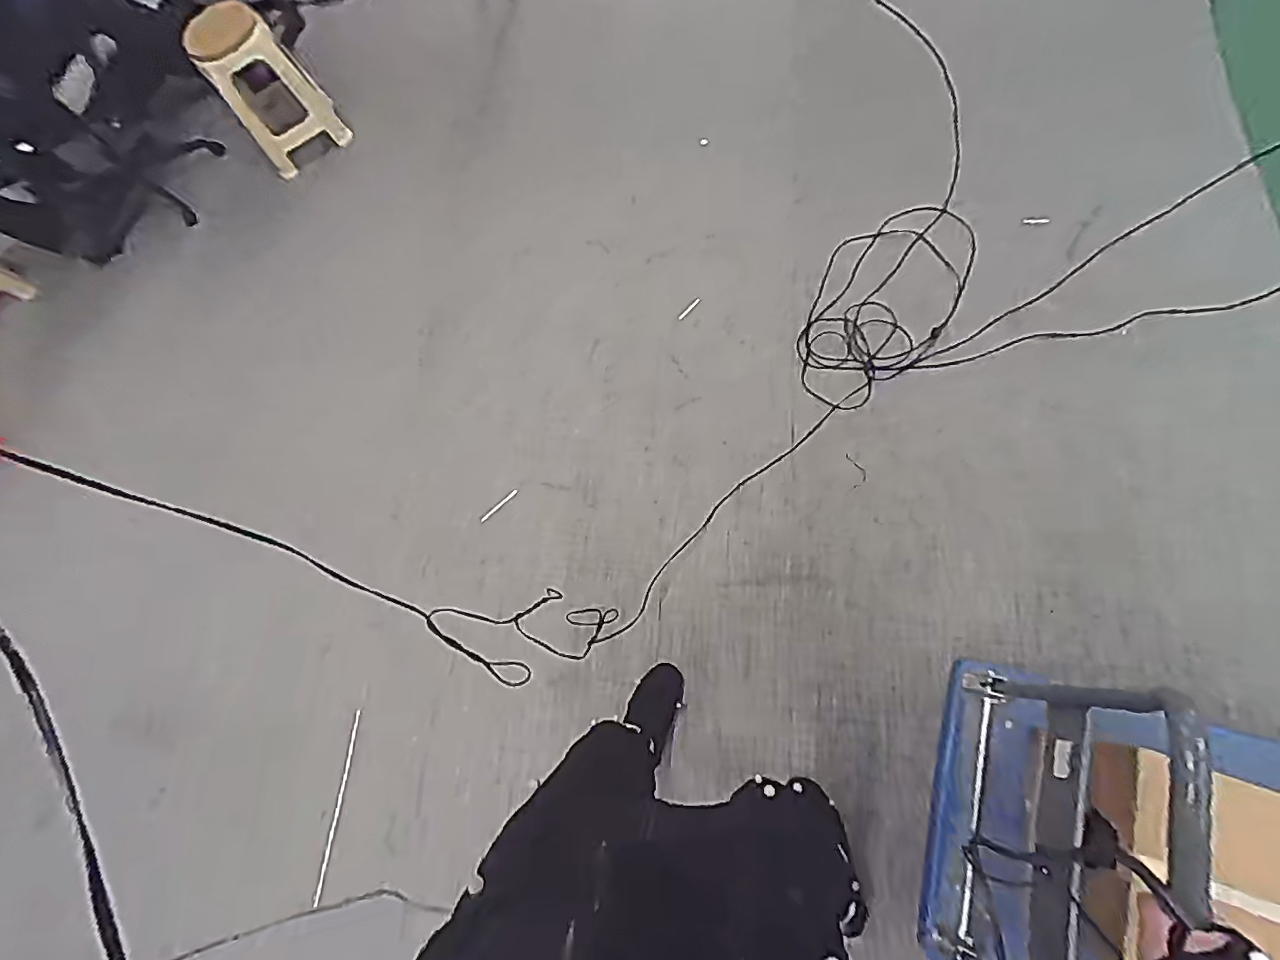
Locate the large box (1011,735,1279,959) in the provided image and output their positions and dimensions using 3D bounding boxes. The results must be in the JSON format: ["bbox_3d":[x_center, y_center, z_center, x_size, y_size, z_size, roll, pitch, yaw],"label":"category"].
[{"bbox_3d":[0.907,0.653,0.884,0.408,0.320,0.320,15,75,14],"label":"large box"}]
